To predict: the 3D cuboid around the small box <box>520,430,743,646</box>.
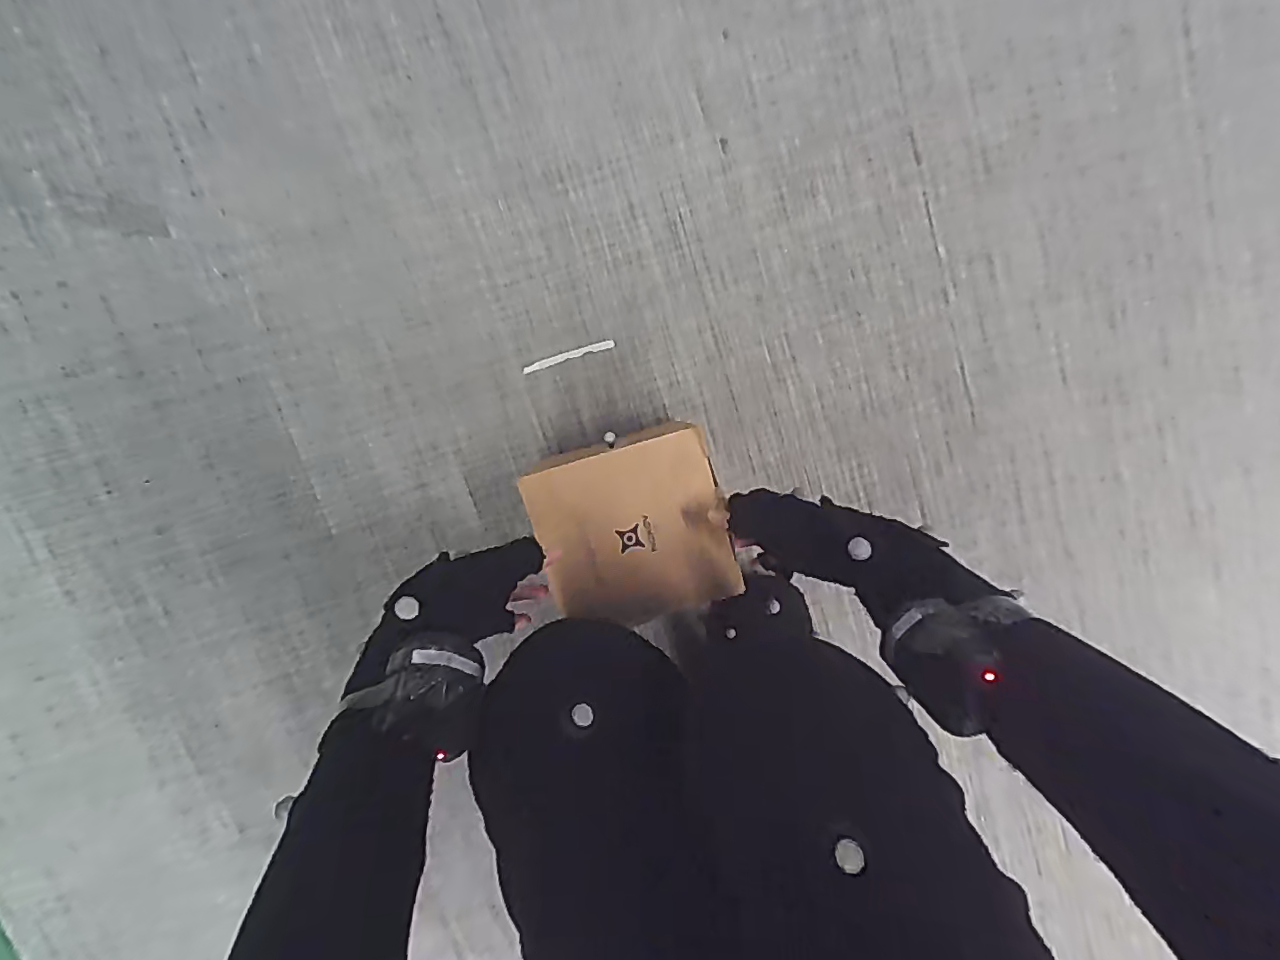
[{"bbox_3d":[-0.010,0.046,0.580,0.179,0.176,0.168,-17,97,0],"label":"small box"}]
